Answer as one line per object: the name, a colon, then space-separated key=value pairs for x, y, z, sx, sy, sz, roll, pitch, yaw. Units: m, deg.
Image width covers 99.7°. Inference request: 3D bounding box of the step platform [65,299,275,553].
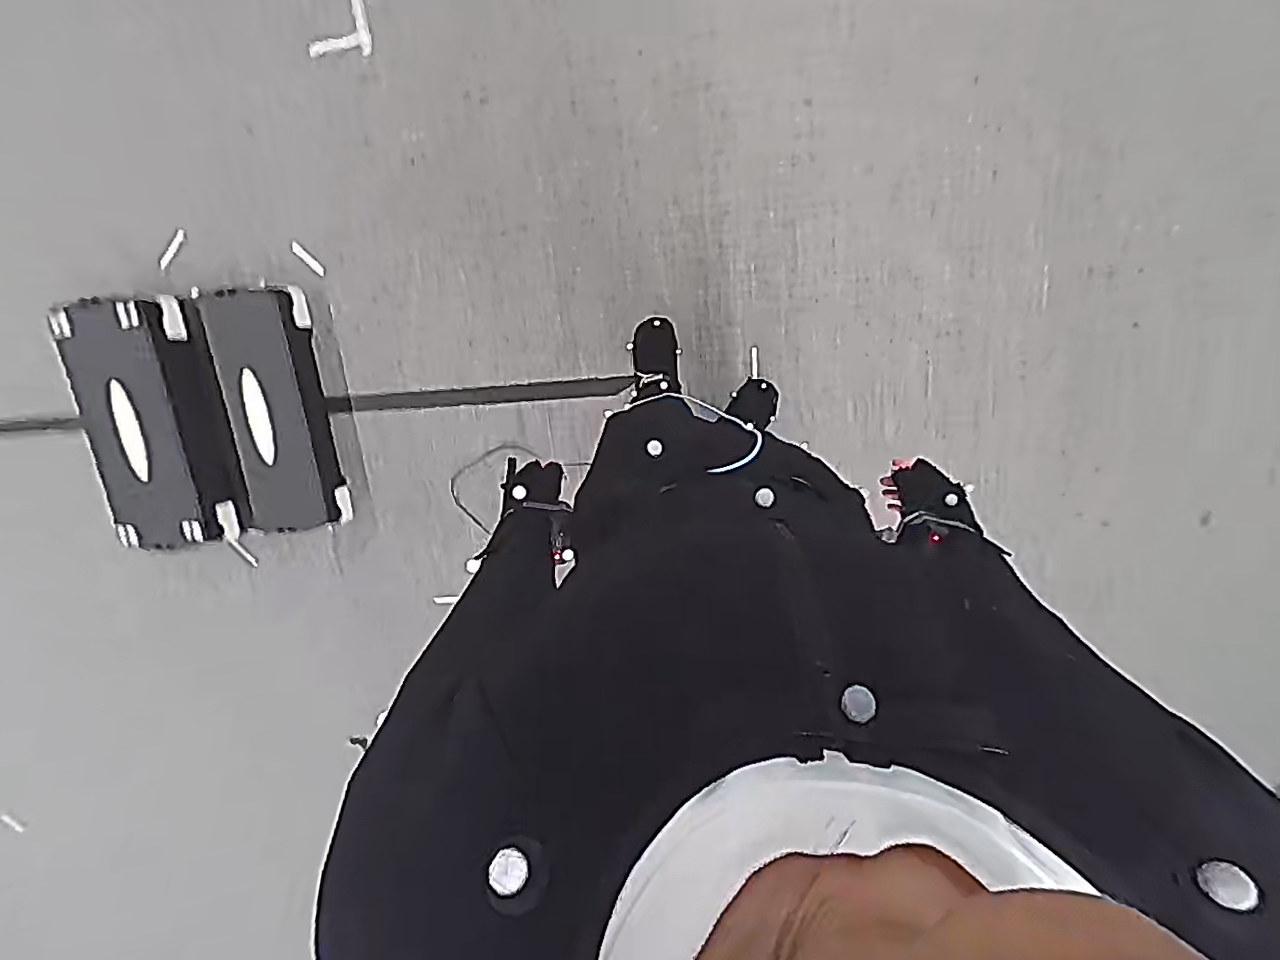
step platform: x=-1.278 y=-0.140 z=1.493 sx=0.286 sy=0.204 sz=0.684 roll=-4 pitch=102 yaw=7
